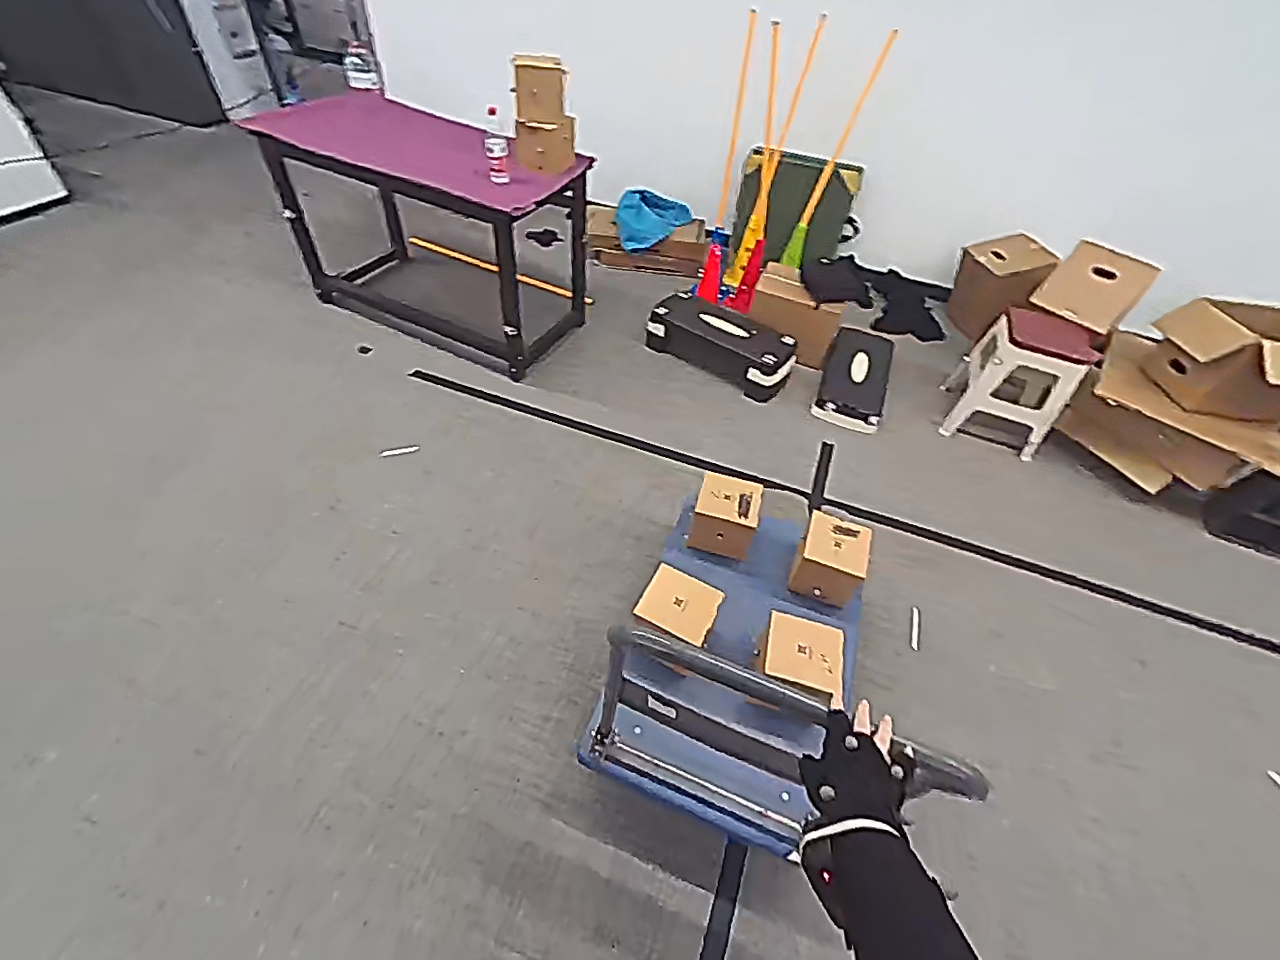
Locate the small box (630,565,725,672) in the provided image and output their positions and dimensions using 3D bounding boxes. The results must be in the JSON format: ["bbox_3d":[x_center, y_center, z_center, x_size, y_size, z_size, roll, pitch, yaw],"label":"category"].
[{"bbox_3d":[0.090,0.354,1.365,0.179,0.176,0.168,25,49,13],"label":"small box"}]

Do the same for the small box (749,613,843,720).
[{"bbox_3d":[0.374,0.455,1.309,0.179,0.176,0.168,16,49,7],"label":"small box"}]

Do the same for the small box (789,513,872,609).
[{"bbox_3d":[0.534,0.232,1.529,0.168,0.176,0.179,20,50,11],"label":"small box"}]
